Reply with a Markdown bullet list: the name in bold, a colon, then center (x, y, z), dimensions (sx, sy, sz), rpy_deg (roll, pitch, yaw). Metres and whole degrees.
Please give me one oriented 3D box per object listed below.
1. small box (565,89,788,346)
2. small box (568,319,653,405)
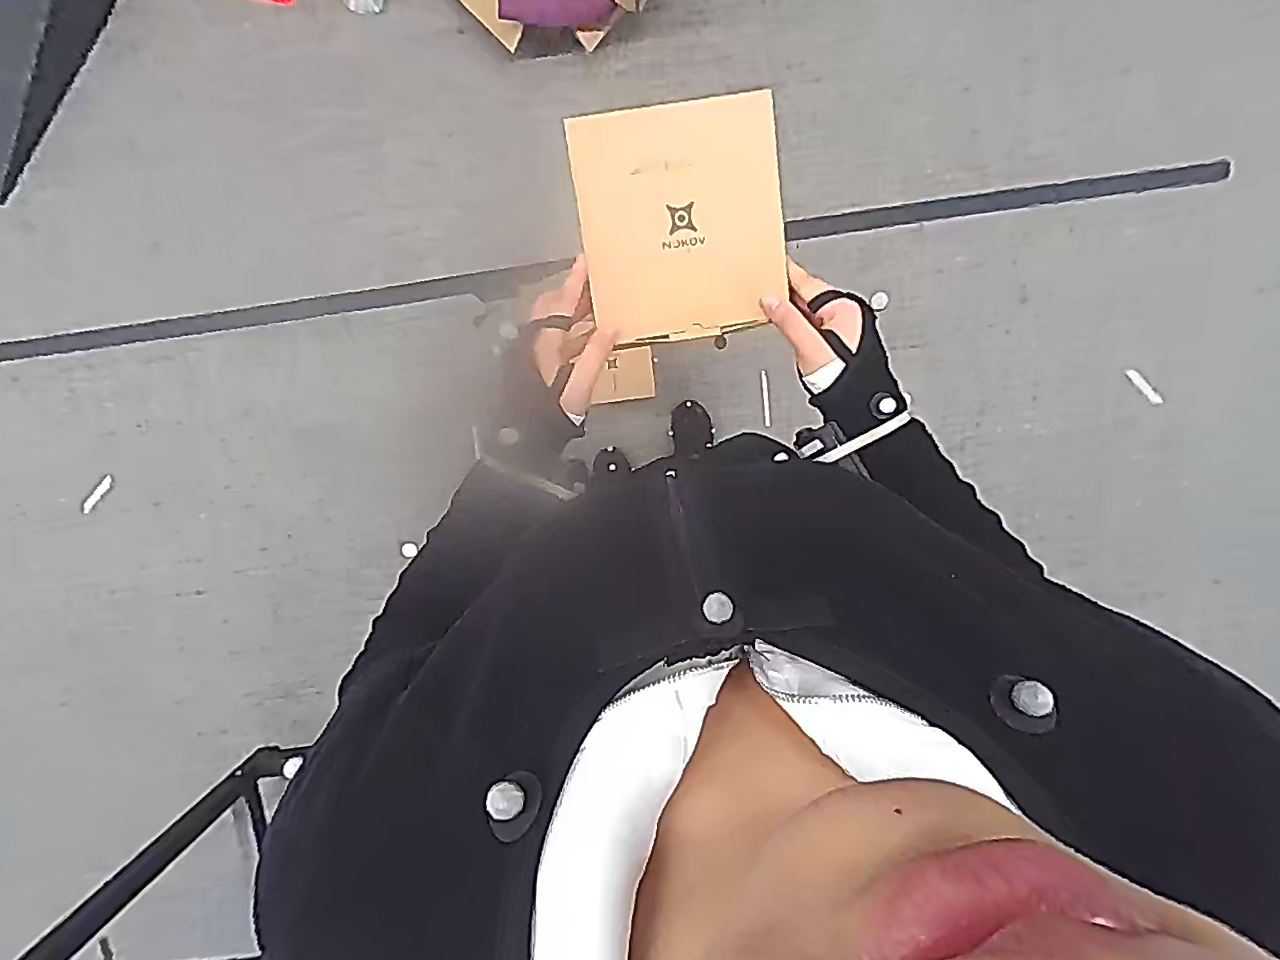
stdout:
- **small box**: center (0.029, -0.226, 0.515), dimensions (0.168, 0.176, 0.179), rpy_deg (-10, 102, -2)
- **small box**: center (-0.064, -0.263, 1.213), dimensions (0.168, 0.176, 0.179), rpy_deg (-7, 99, 1)
